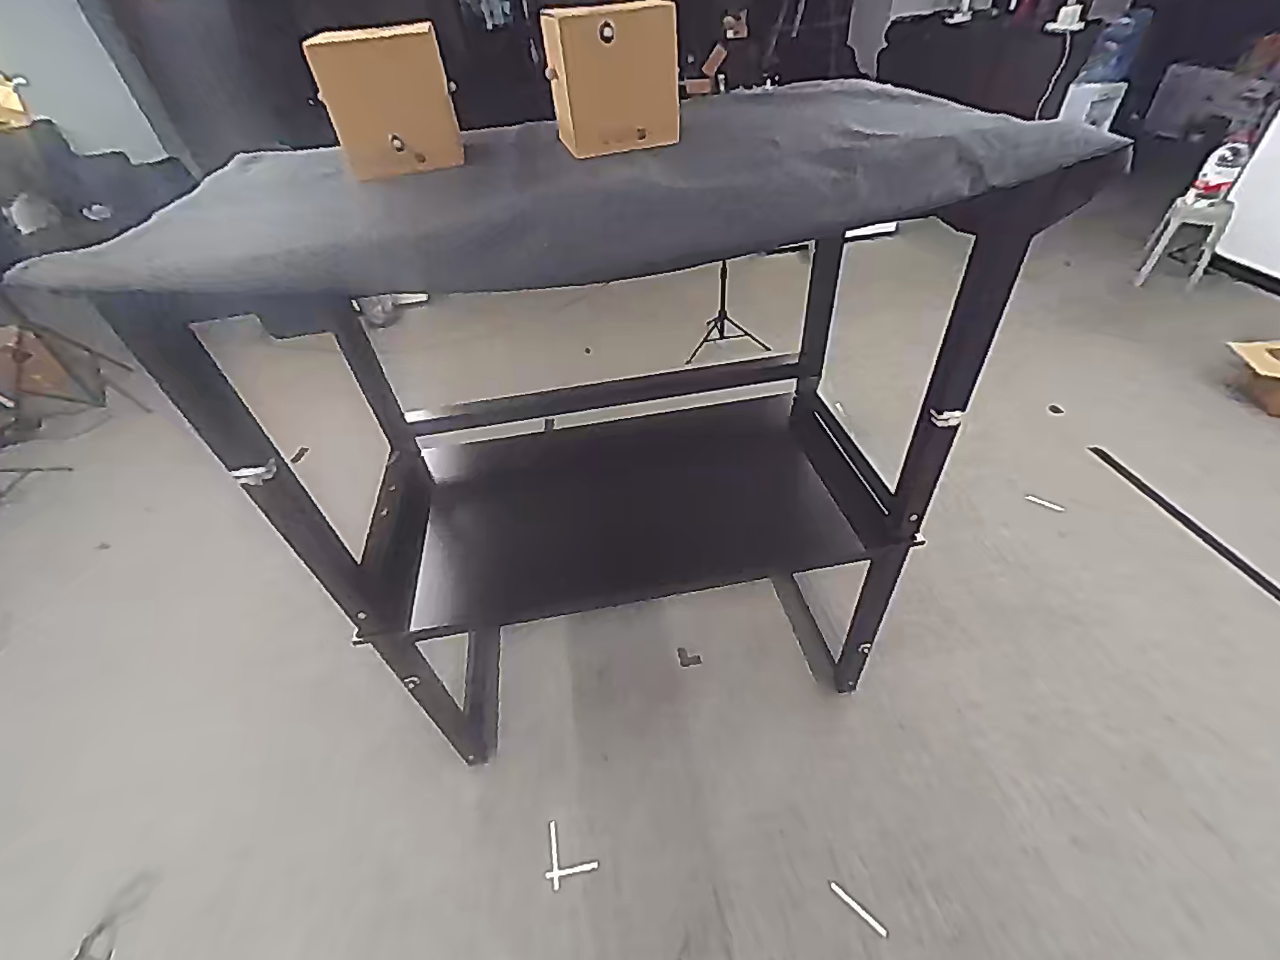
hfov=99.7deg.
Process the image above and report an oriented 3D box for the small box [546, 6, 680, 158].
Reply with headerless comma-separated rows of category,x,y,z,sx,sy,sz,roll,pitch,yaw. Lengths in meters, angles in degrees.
small box,-0.042,-0.612,0.835,0.168,0.176,0.179,-14,43,-8
